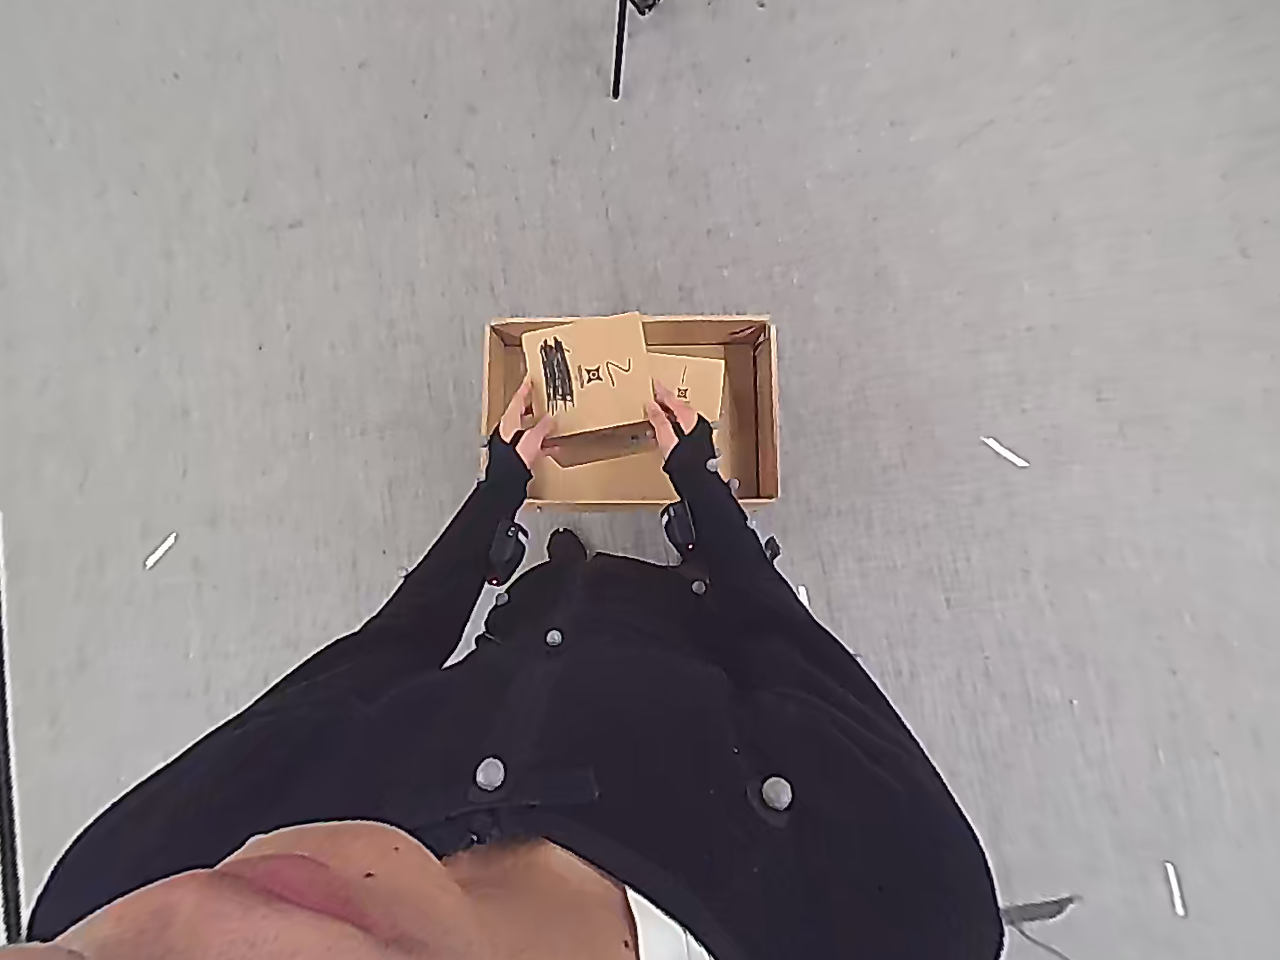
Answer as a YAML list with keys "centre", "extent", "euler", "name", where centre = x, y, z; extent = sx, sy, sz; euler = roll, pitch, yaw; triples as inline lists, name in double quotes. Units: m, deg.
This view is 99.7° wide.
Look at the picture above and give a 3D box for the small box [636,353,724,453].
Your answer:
- centre: [0.084, -0.159, 1.176]
  extent: [0.168, 0.176, 0.179]
  euler: [6, 84, 2]
  name: "small box"
